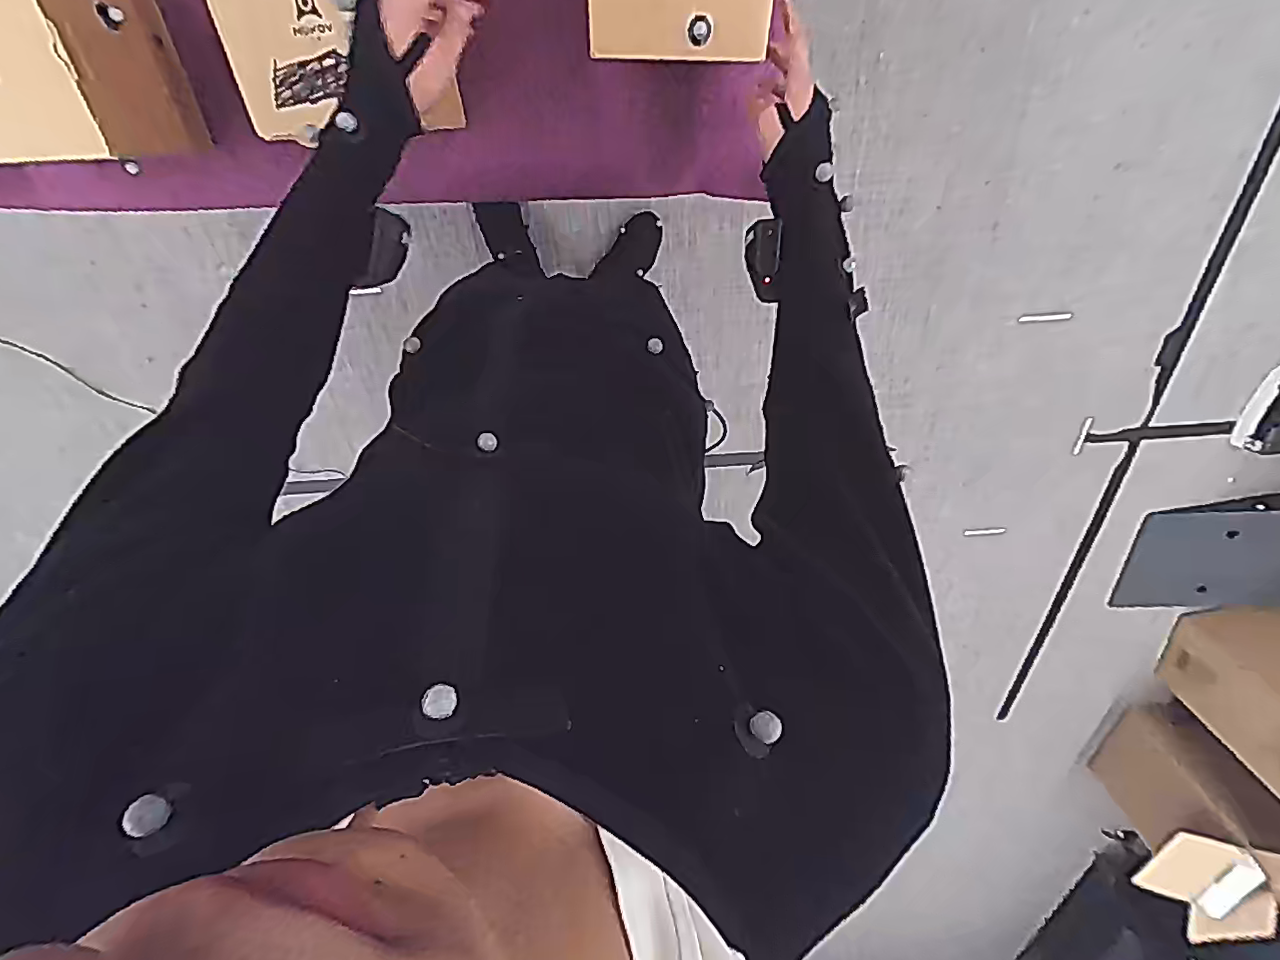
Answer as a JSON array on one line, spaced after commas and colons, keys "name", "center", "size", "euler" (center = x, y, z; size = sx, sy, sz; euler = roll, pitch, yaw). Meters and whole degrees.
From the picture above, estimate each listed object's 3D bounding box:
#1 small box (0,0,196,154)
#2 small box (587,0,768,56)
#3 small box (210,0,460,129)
[{"name": "small box", "center": [-0.603, -0.429, 0.545], "size": [0.179, 0.176, 0.168], "euler": [-4, 122, -2]}, {"name": "small box", "center": [0.034, -0.515, 0.504], "size": [0.168, 0.179, 0.176], "euler": [-1, 132, -2]}, {"name": "small box", "center": [-0.295, -0.461, 0.542], "size": [0.168, 0.176, 0.179], "euler": [-5, 121, 0]}]
